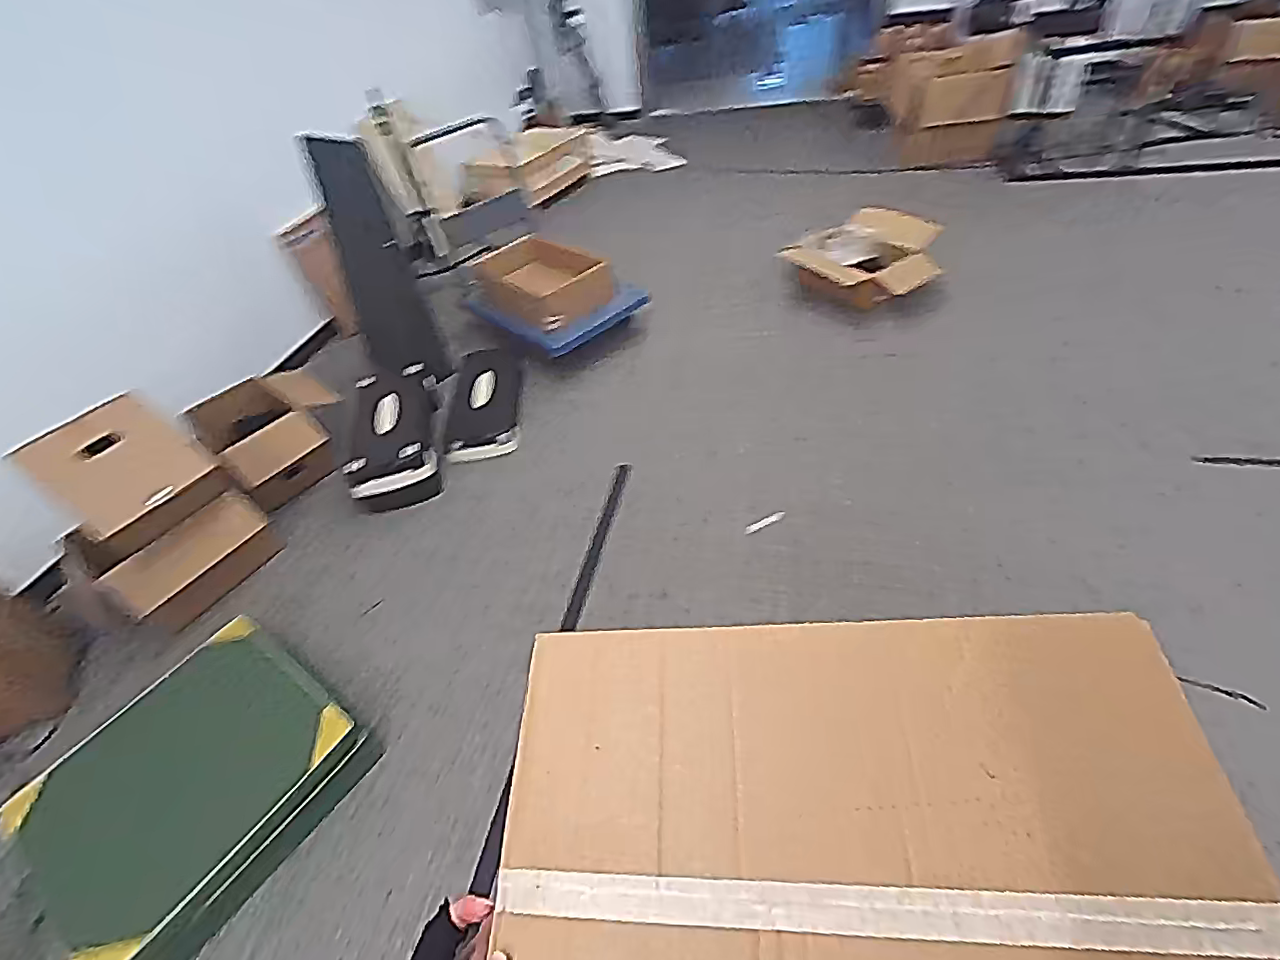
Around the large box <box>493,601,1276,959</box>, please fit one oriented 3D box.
[{"bbox_3d":[0.140,0.312,0.423,0.408,0.320,0.320,-7,54,10],"label":"large box"}]
